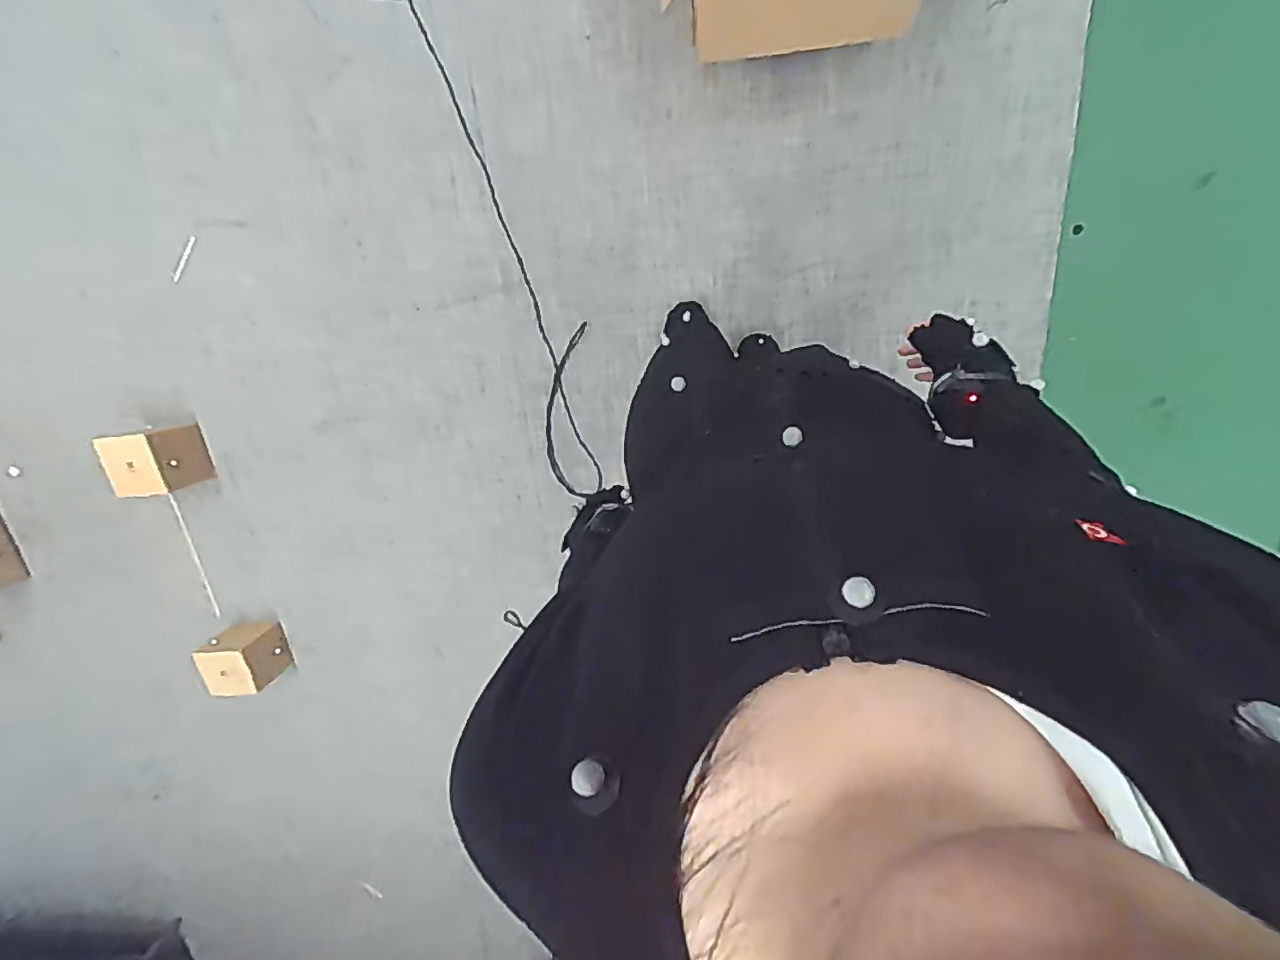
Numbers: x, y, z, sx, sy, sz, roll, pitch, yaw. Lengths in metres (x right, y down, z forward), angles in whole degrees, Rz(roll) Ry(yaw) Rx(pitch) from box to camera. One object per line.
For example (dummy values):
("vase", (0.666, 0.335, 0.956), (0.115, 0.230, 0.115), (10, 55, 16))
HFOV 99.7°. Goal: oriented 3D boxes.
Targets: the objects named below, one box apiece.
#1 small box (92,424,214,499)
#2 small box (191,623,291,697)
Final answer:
("small box", (-1.394, -0.060, 1.560), (0.168, 0.176, 0.179), (-5, 109, 7))
("small box", (-1.298, 0.585, 1.770), (0.179, 0.176, 0.168), (-5, 108, 7))
